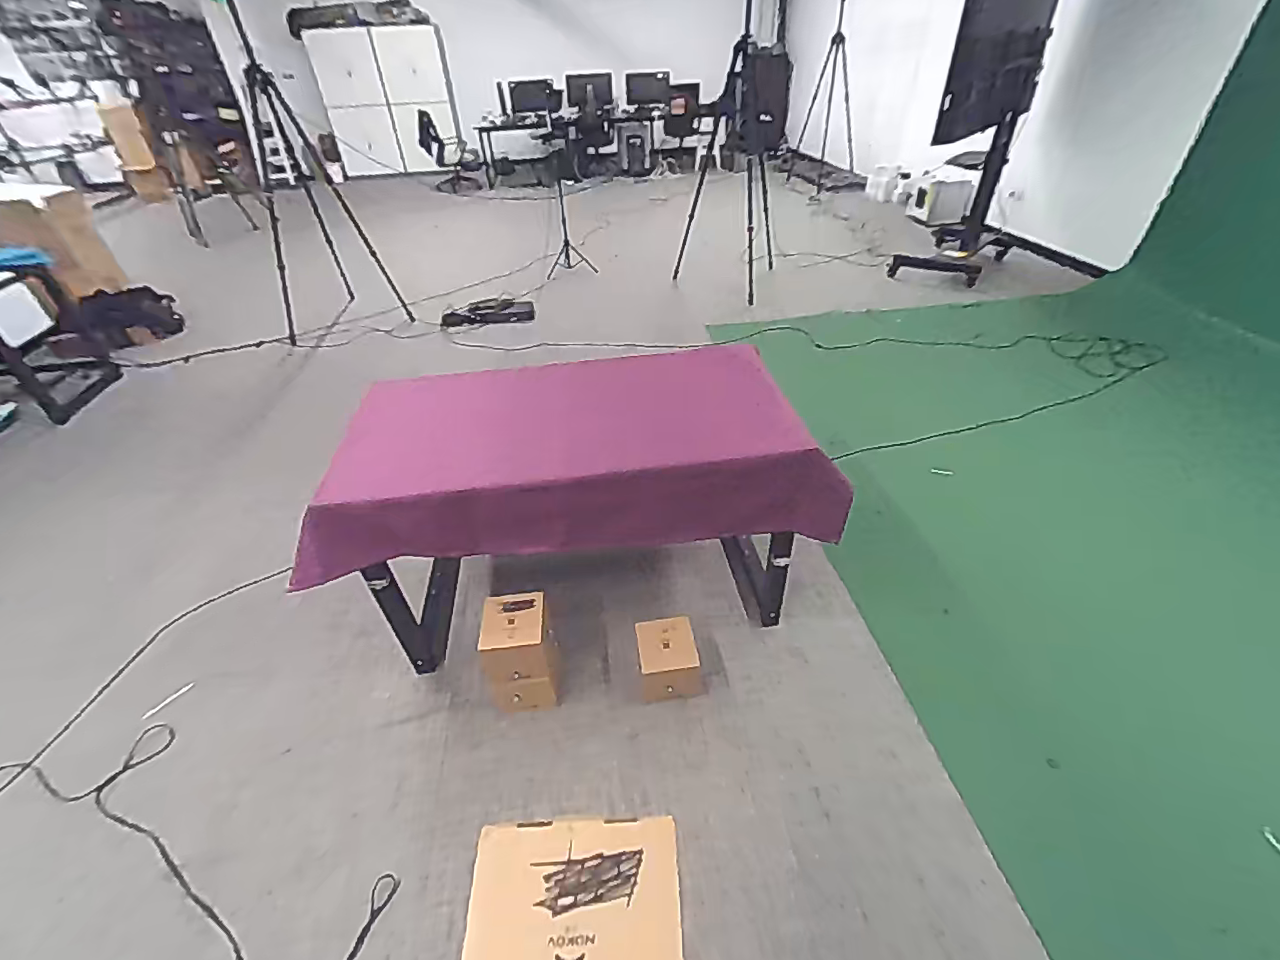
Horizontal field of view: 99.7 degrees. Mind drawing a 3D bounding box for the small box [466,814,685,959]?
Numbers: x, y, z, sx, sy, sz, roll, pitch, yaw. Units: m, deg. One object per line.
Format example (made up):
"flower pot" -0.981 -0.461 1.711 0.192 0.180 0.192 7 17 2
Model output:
"small box" -0.045 0.407 0.465 0.168 0.176 0.179 -3 48 2
